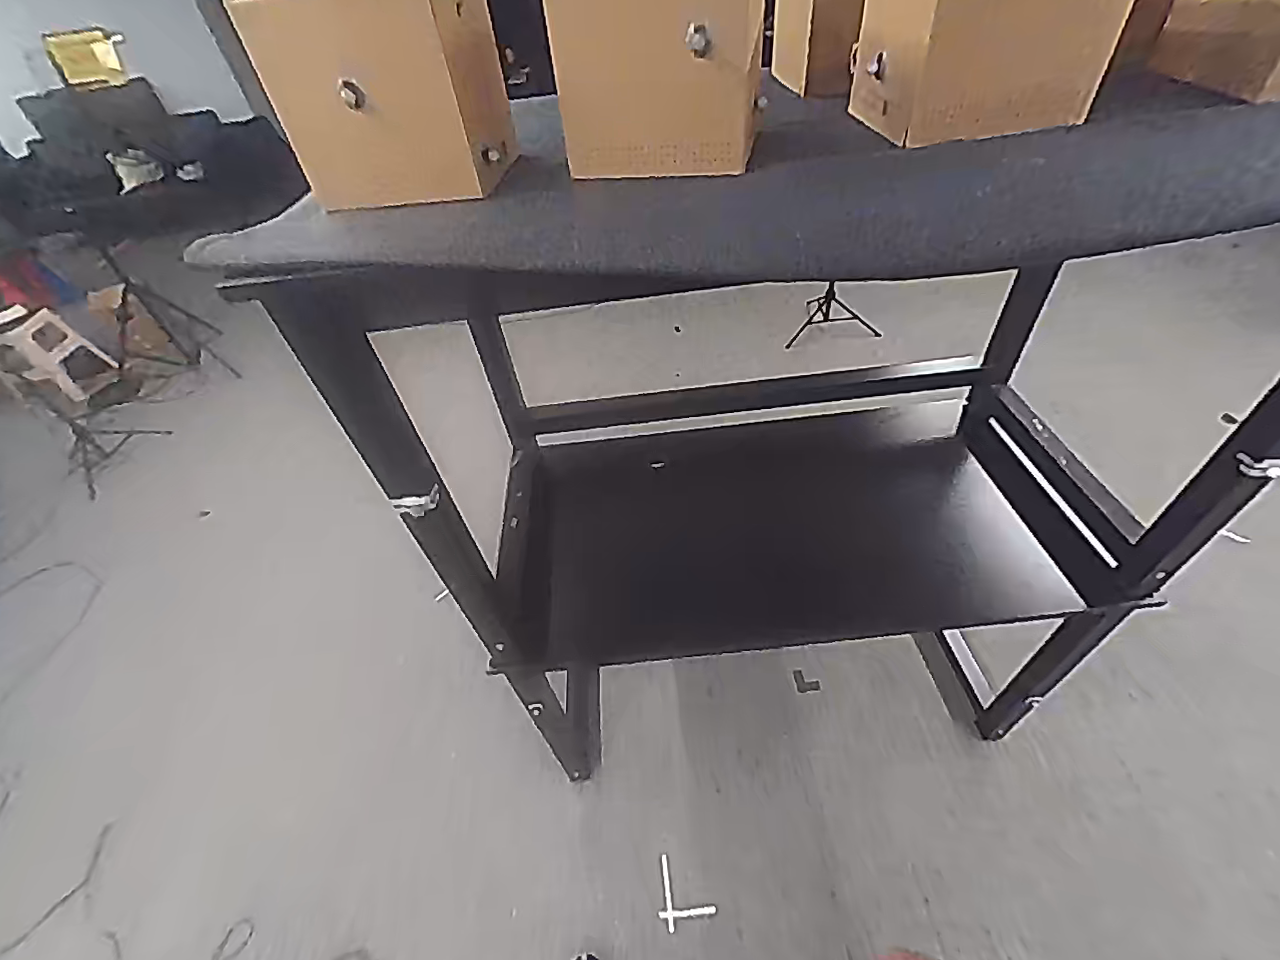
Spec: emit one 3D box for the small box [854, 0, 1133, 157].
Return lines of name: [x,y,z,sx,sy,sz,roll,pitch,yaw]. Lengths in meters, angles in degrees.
small box: [0.333,-0.439,0.528,0.179,0.176,0.168,-7,45,2]

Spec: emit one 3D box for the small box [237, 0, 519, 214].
small box: [-0.236,-0.388,0.549,0.179,0.176,0.168,-2,44,6]

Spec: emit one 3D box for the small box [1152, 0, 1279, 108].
small box: [0.656,-0.470,0.510,0.168,0.176,0.179,-2,45,7]

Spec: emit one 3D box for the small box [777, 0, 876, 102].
small box: [0.282,-0.613,0.704,0.168,0.176,0.179,-7,45,2]
